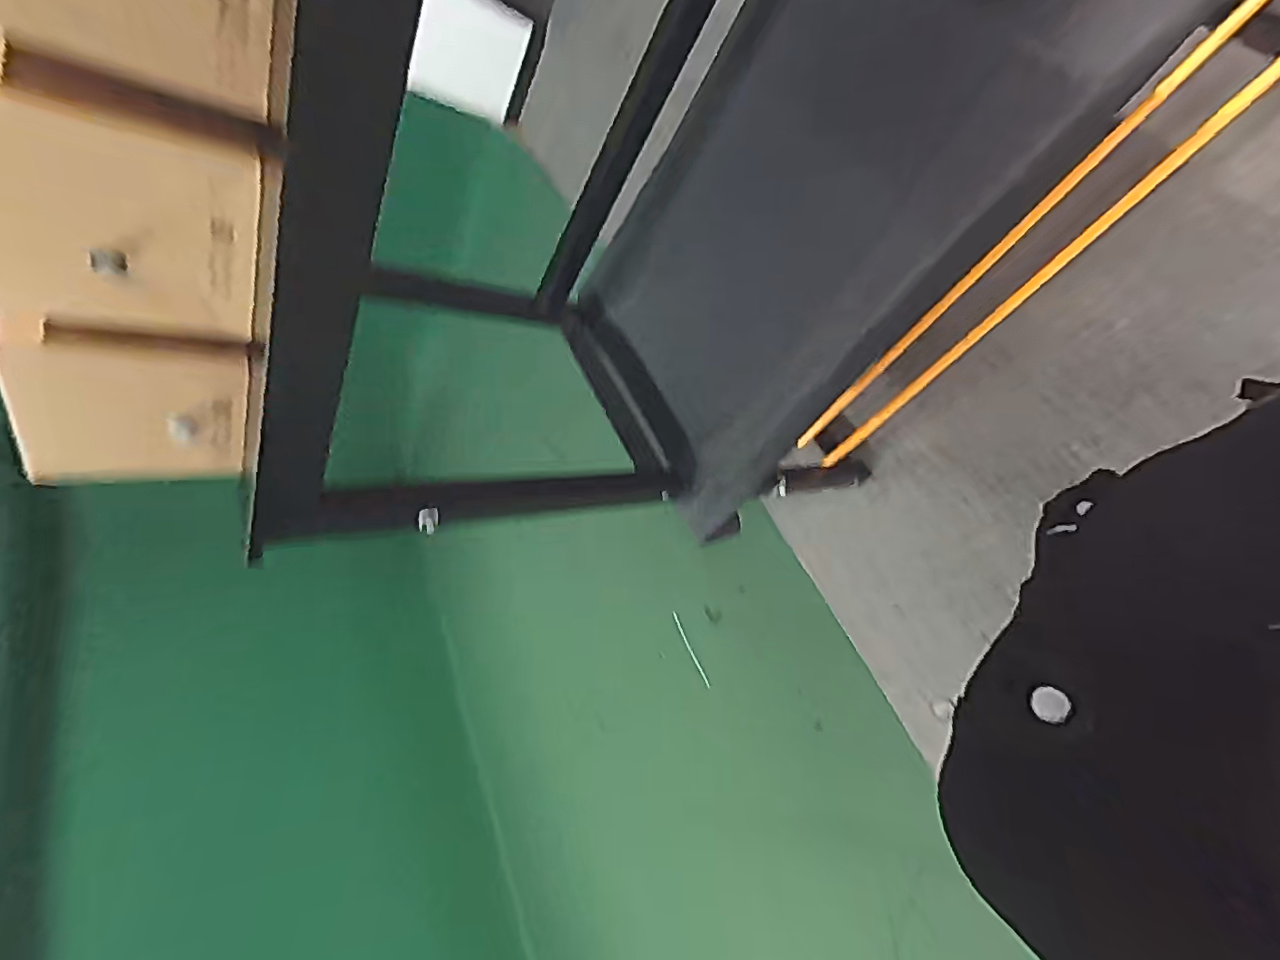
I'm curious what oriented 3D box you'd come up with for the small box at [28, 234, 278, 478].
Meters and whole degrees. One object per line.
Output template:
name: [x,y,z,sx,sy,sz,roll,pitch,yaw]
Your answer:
small box: [-0.498,-0.119,0.569,0.168,0.176,0.179,-53,55,38]
